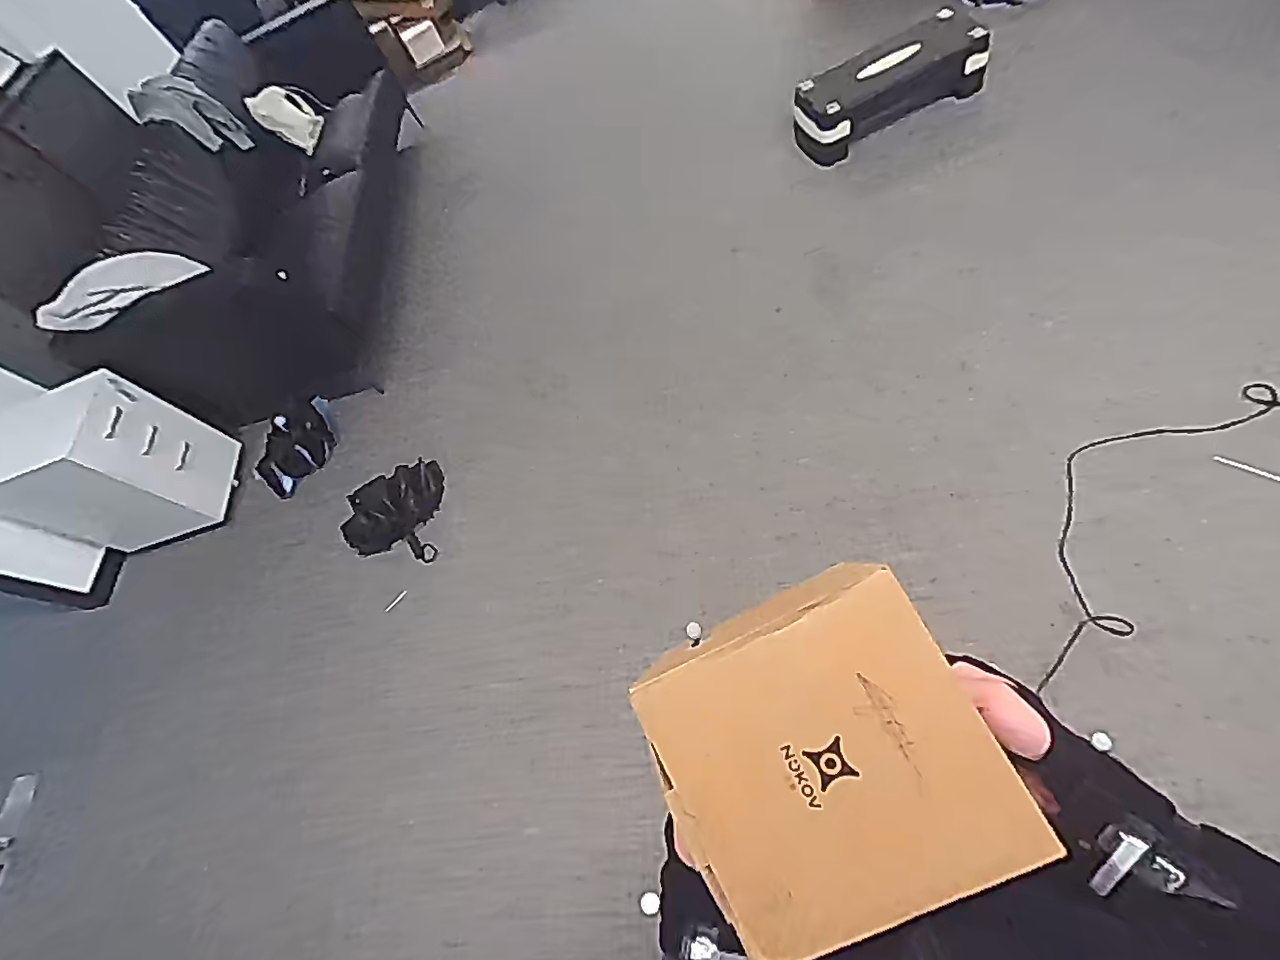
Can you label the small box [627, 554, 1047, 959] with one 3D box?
[{"bbox_3d":[0.117,0.165,0.382,0.179,0.176,0.168,-29,78,6],"label":"small box"}]
